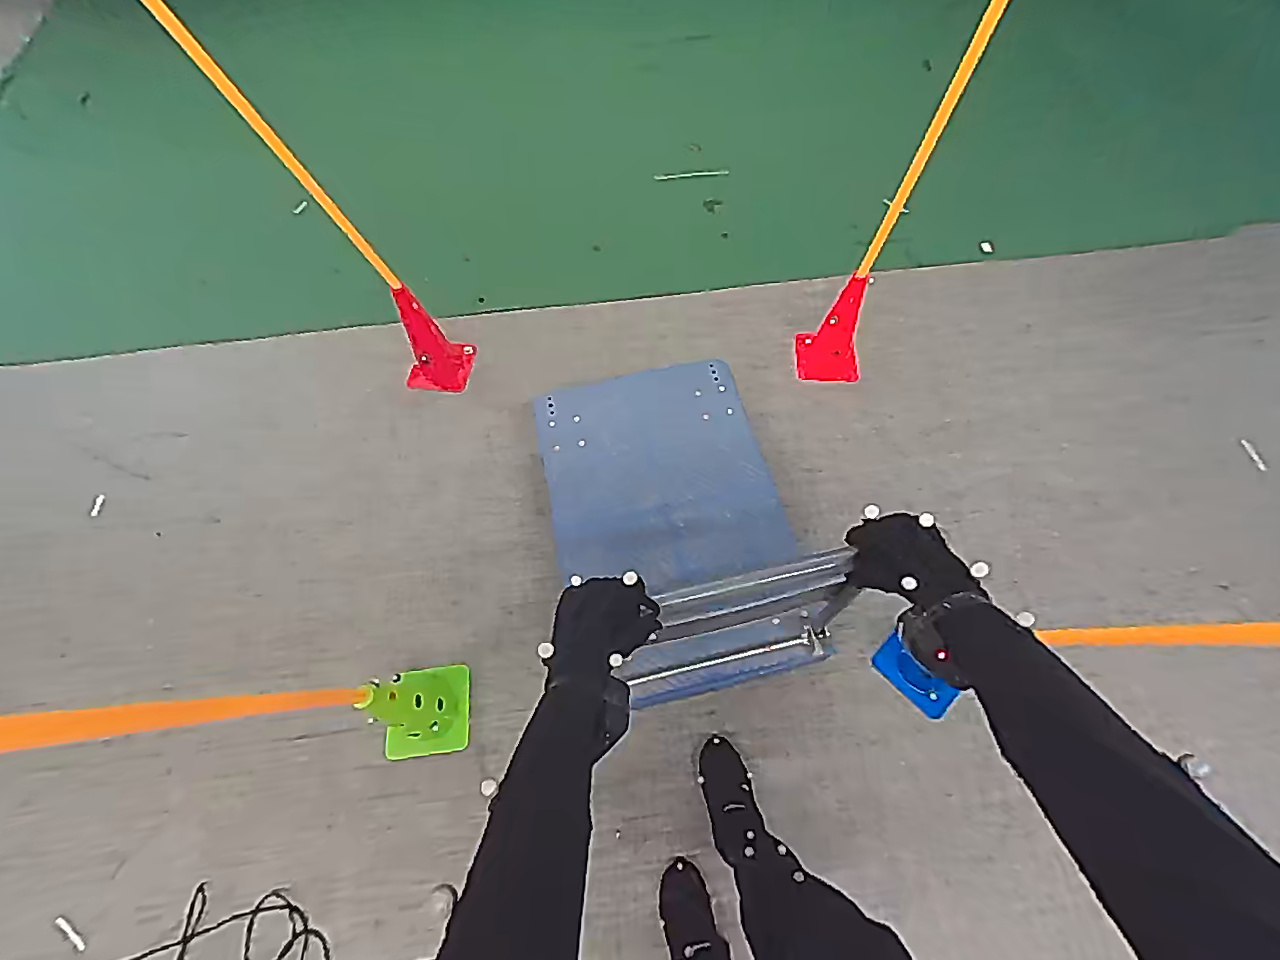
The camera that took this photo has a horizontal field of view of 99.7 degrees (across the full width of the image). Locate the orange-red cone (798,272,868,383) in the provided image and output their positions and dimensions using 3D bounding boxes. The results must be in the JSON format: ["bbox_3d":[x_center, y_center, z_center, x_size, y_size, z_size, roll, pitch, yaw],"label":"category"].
[{"bbox_3d":[0.619,-0.479,1.642,0.198,0.360,0.199,3,64,5],"label":"orange-red cone"}]
